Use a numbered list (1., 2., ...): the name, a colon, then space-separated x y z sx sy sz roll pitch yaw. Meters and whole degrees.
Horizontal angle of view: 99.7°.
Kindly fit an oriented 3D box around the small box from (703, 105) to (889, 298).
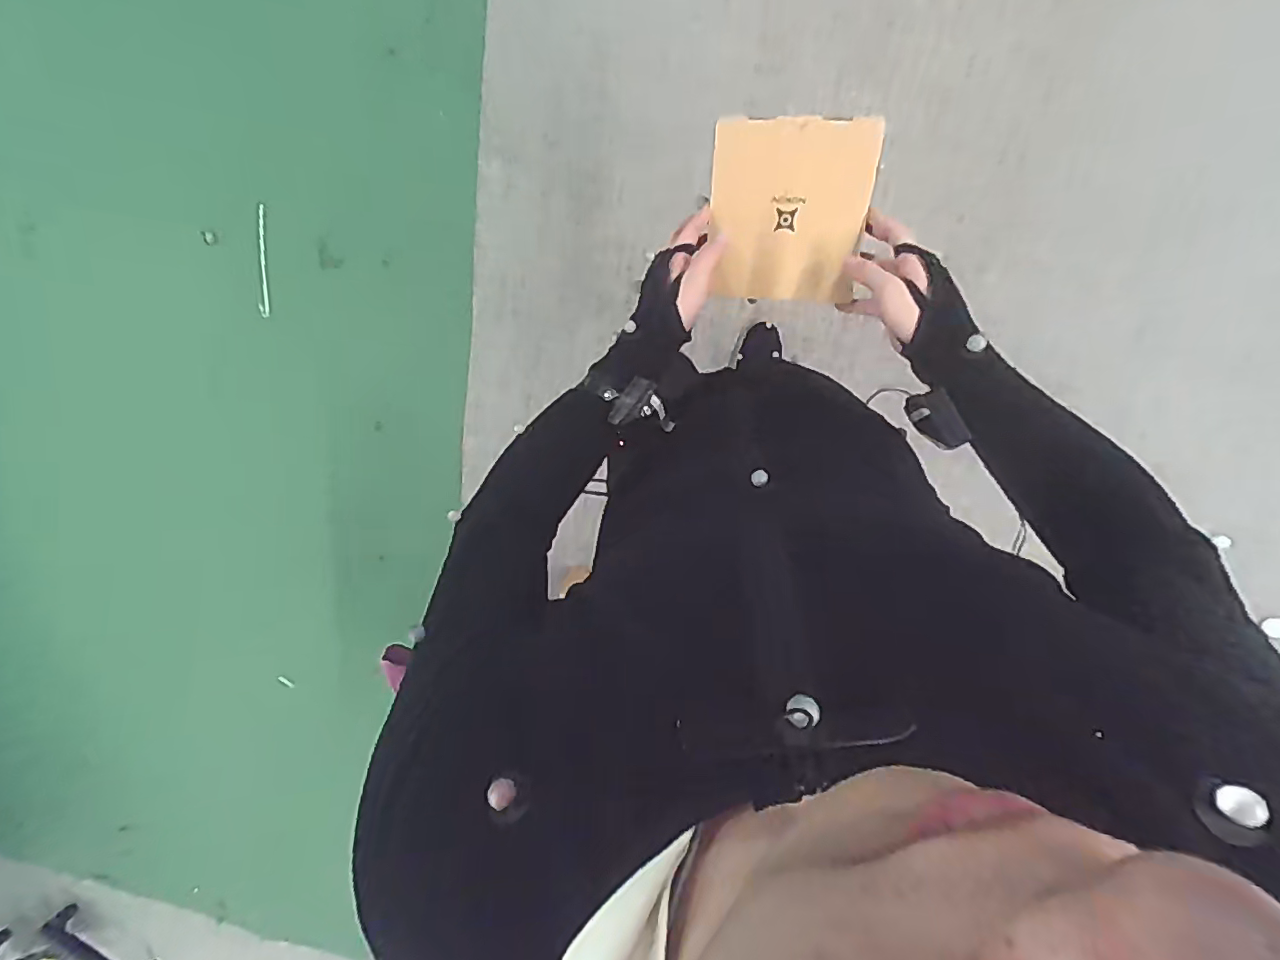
1. small box: 0.167 -0.316 0.626 0.168 0.176 0.179 5 116 7
